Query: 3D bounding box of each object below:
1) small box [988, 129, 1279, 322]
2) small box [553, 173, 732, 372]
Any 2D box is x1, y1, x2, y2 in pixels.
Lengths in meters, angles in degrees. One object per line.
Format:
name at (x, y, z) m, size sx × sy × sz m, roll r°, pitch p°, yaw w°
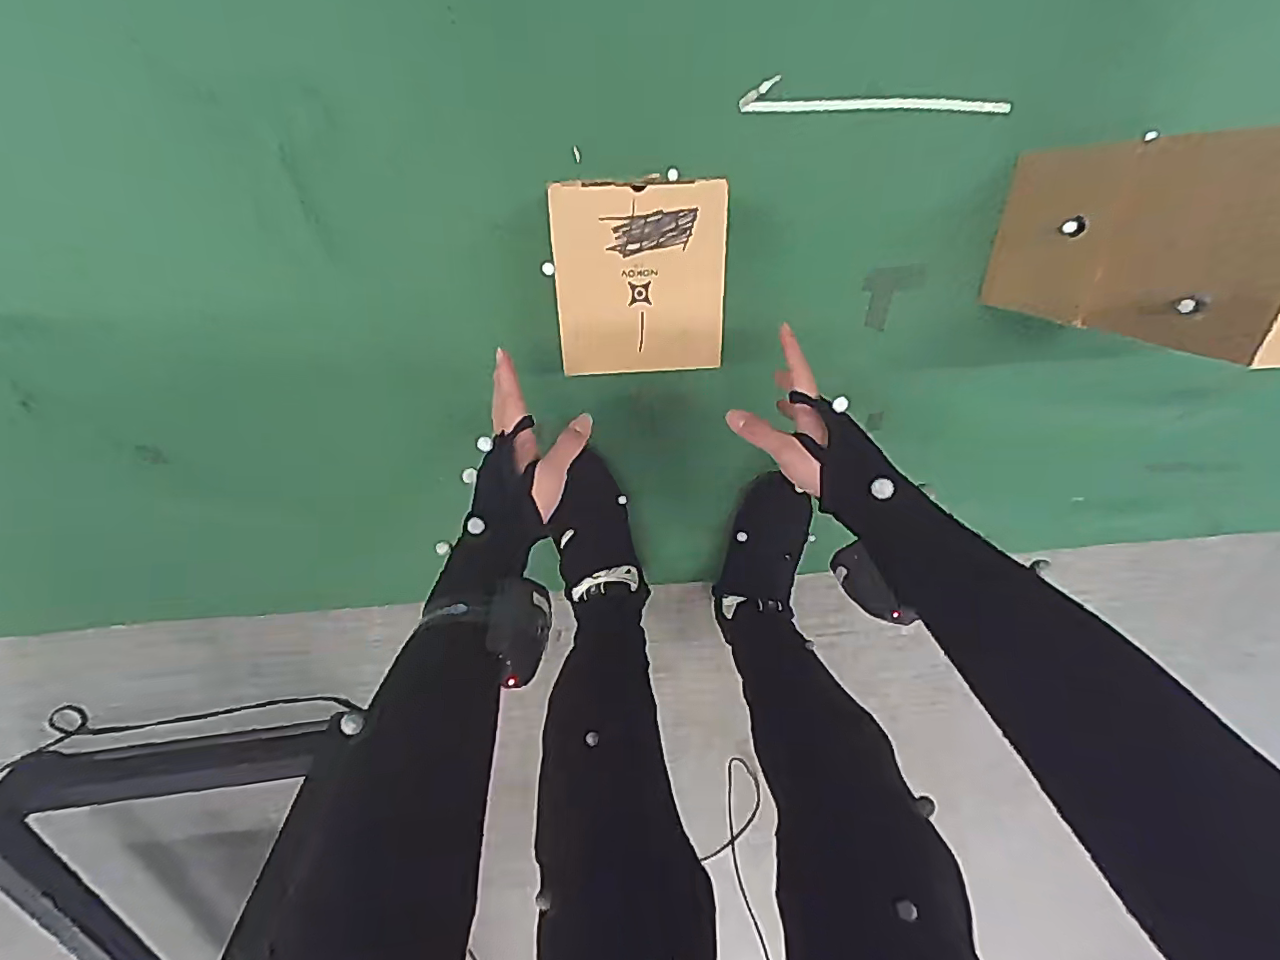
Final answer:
small box at (0.541, -0.285, 0.615) m, size 0.168 × 0.176 × 0.179 m, roll -2°, pitch 118°, yaw -5°
small box at (-0.003, -0.228, 0.589) m, size 0.168 × 0.176 × 0.179 m, roll -4°, pitch 118°, yaw -3°
